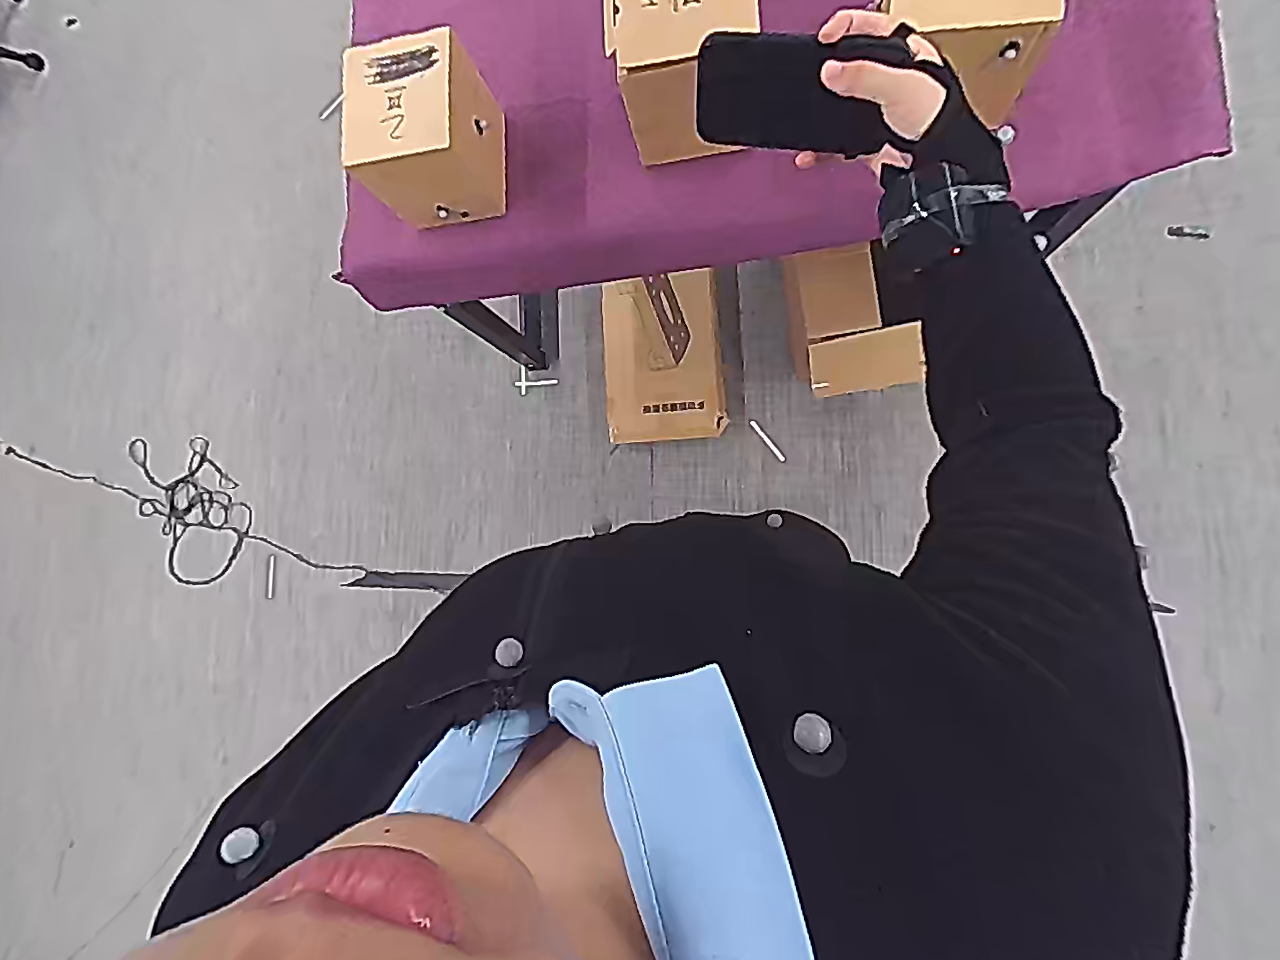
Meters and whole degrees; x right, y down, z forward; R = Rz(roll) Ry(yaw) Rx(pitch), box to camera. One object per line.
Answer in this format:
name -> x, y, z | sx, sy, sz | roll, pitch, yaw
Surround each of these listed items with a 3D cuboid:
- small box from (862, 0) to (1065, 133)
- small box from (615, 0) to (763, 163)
small box -> 0.381, -0.561, 0.665 | 0.179, 0.176, 0.168 | 4, 86, 12
small box -> 0.069, -0.567, 0.728 | 0.179, 0.176, 0.168 | -3, 83, 11
